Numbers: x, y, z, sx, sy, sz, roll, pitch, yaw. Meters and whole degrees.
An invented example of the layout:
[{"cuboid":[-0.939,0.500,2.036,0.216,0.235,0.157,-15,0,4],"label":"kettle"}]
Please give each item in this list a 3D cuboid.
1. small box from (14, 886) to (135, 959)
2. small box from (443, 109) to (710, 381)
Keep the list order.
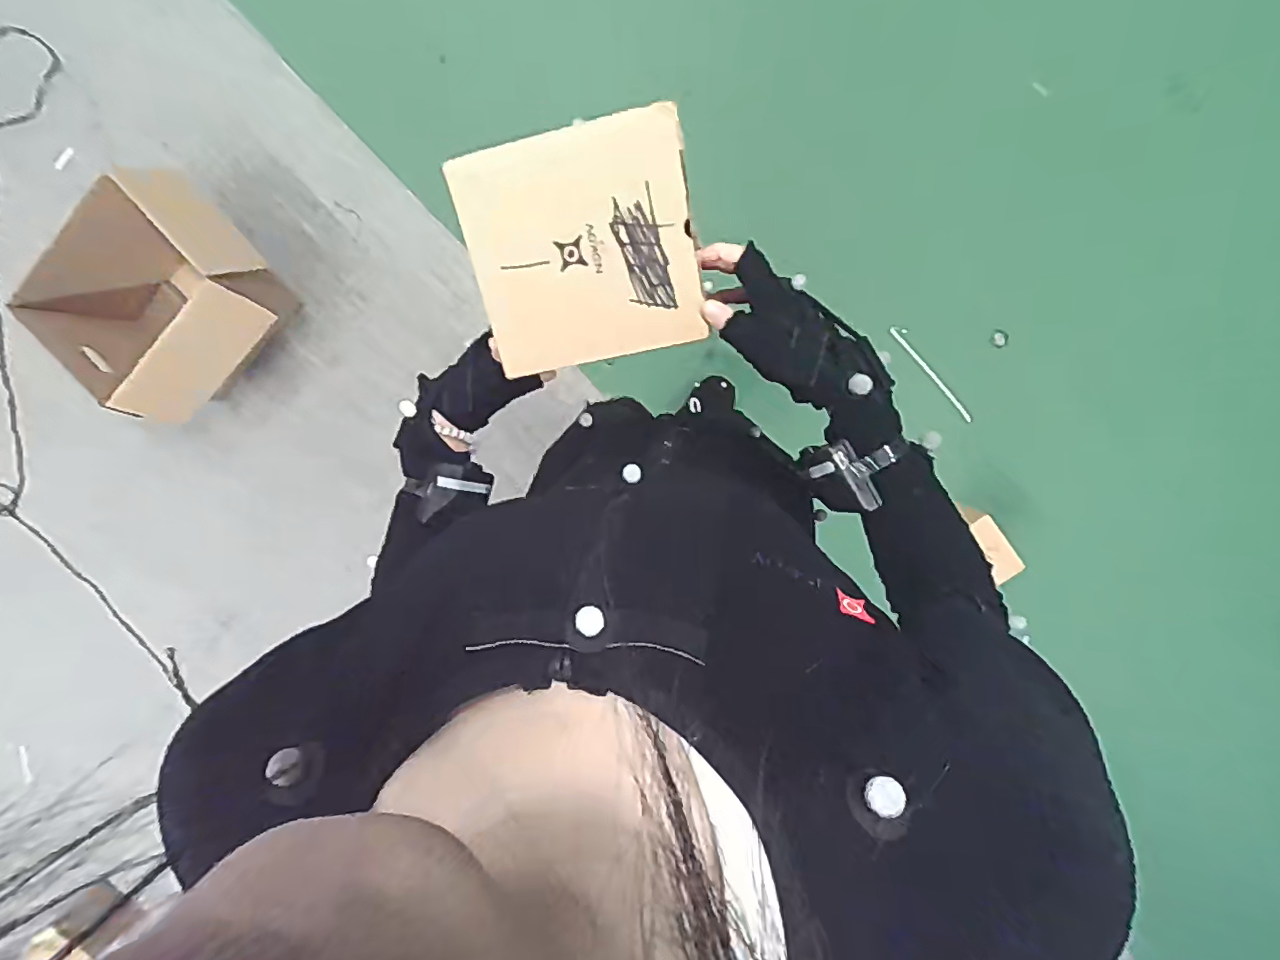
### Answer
[{"cuboid":[-1.807,1.459,1.737,0.179,0.176,0.168,45,98,-5],"label":"small box"},{"cuboid":[-0.040,-0.199,0.483,0.179,0.176,0.168,-9,111,7],"label":"small box"}]
